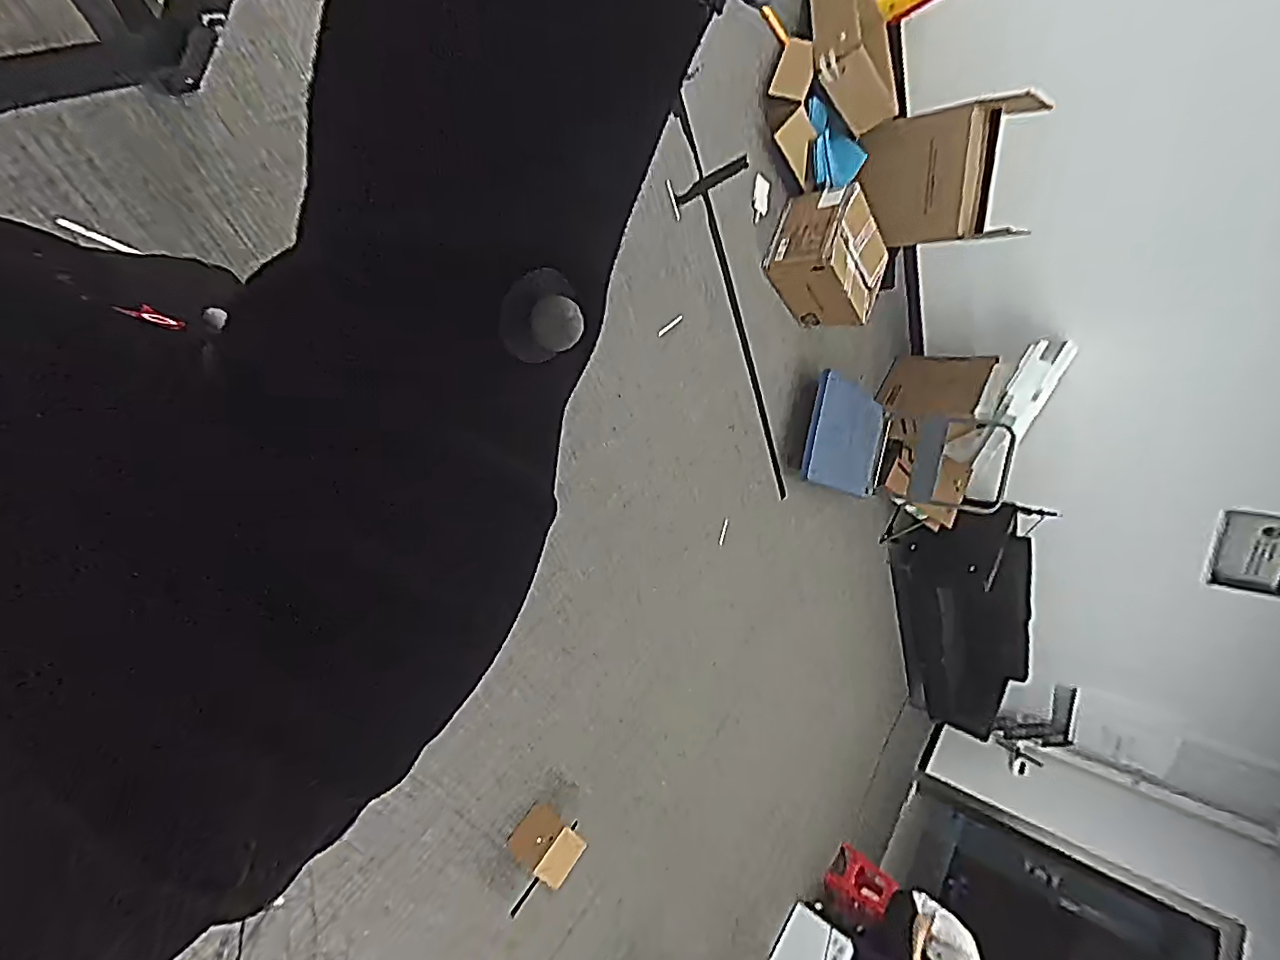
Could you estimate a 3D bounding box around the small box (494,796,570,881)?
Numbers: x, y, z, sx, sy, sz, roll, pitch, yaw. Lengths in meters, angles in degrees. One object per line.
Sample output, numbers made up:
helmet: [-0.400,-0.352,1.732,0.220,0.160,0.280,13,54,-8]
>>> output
small box: [-0.376,1.277,1.921,0.168,0.176,0.179,-48,131,-30]
